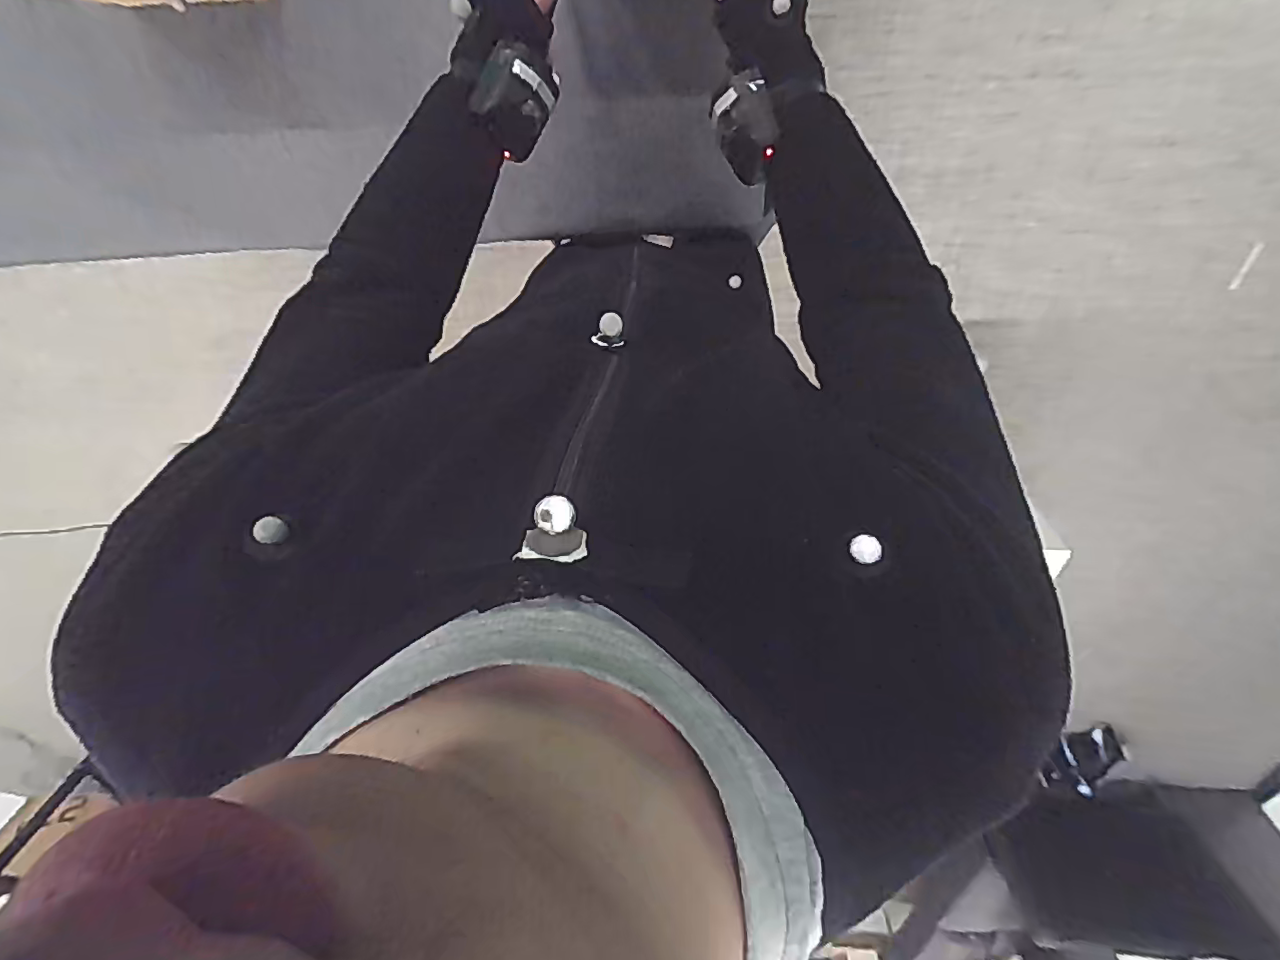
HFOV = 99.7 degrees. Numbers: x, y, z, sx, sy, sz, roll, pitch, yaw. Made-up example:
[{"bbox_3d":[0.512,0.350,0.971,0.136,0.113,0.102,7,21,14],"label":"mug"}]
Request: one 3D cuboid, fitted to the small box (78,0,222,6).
[{"bbox_3d":[-0.471,-0.511,0.442,0.179,0.176,0.168,0,124,4],"label":"small box"}]
